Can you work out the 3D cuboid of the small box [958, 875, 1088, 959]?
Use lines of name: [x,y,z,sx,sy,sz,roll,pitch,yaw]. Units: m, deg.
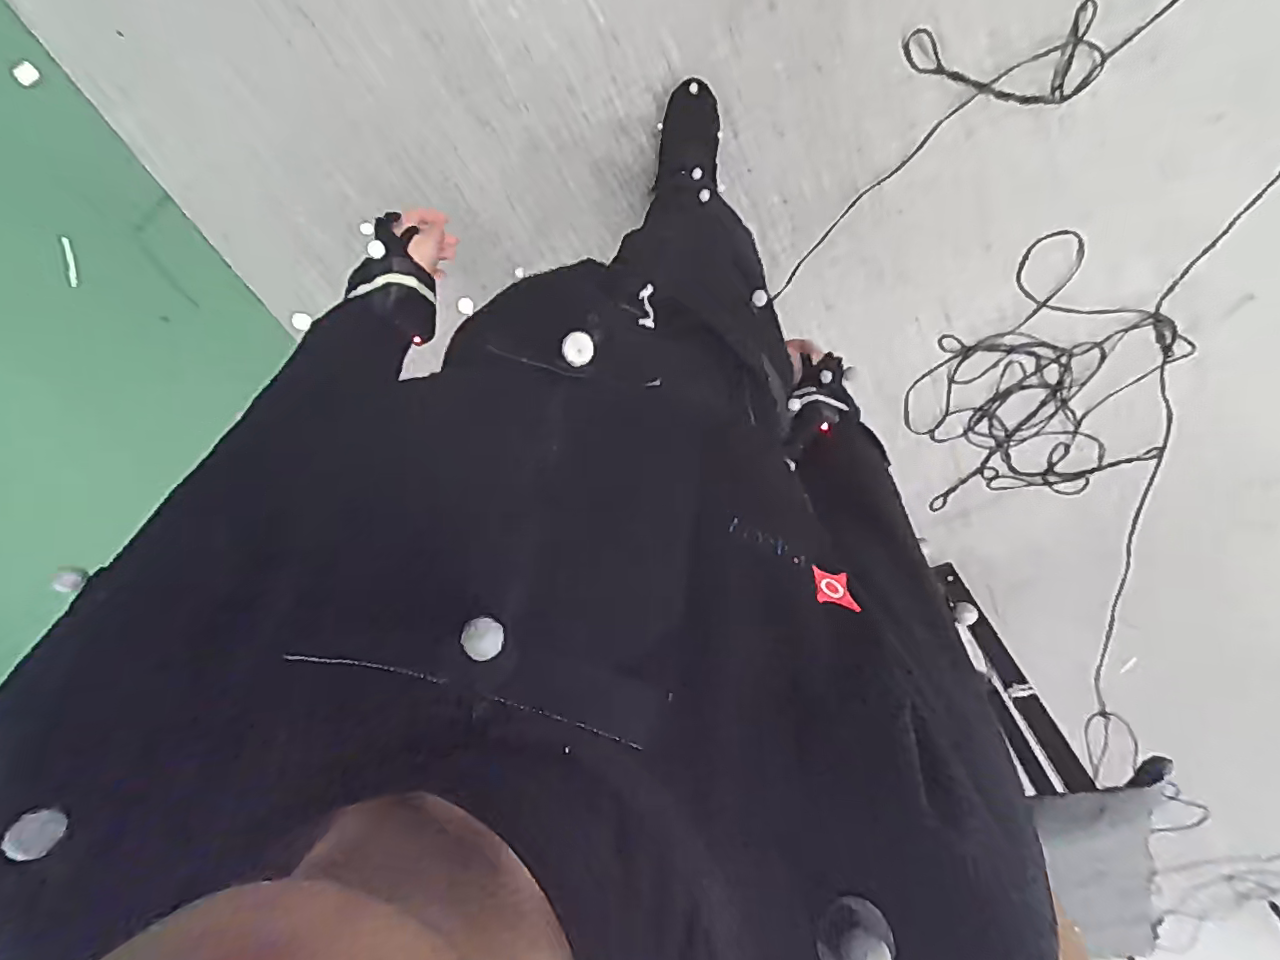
small box: [0.743,0.893,1.049,0.168,0.176,0.179,-19,121,17]
